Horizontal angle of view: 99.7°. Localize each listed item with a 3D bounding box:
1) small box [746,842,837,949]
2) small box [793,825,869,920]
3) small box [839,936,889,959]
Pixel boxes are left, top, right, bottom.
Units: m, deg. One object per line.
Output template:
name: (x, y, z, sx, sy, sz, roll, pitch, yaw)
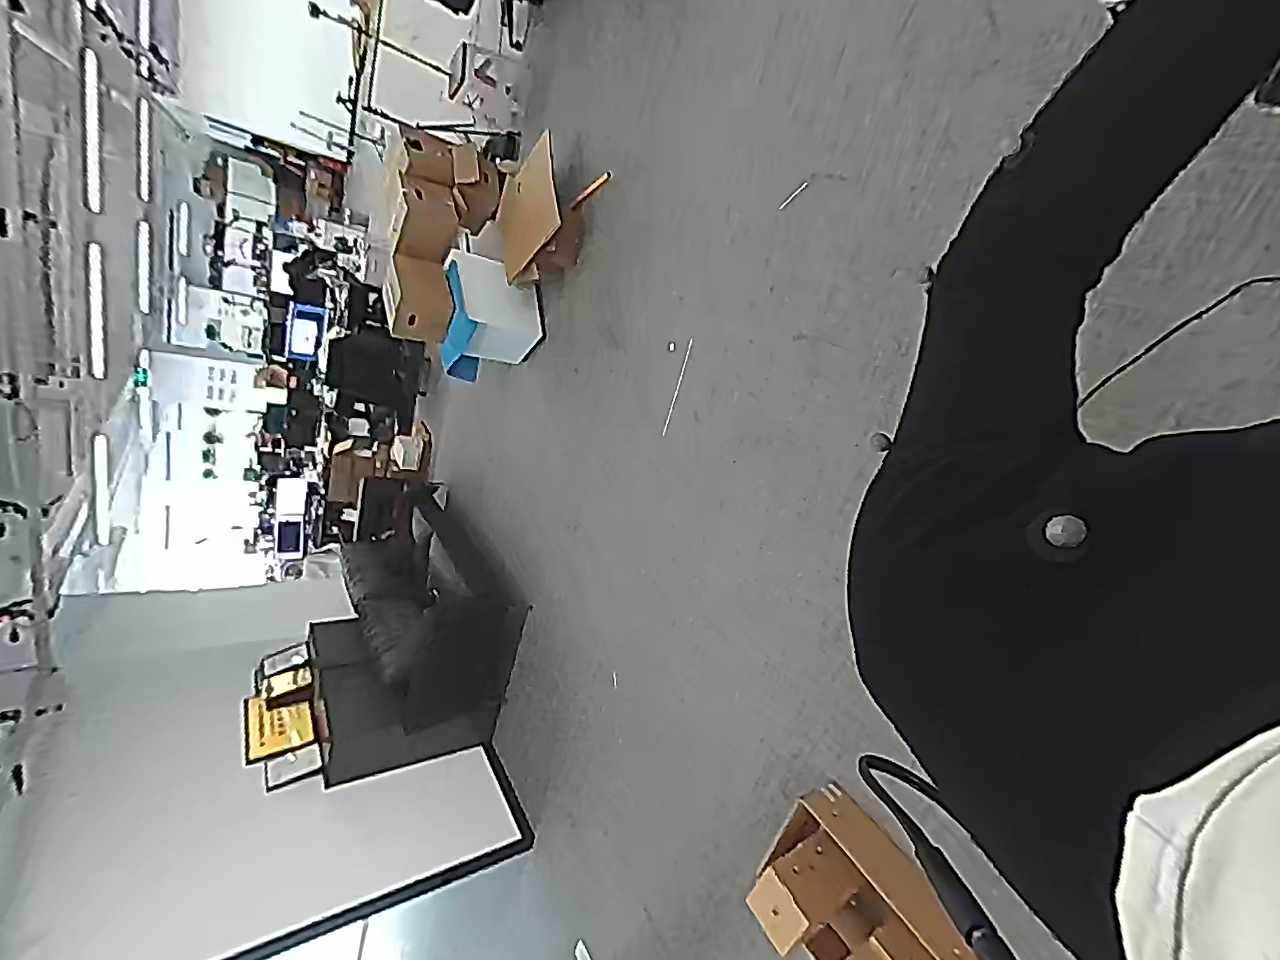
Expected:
small box: (0.458, 1.237, 1.622, 0.168, 0.176, 0.179, 45, 122, 45)
small box: (0.586, 1.238, 1.722, 0.179, 0.176, 0.168, 44, 122, 44)
small box: (0.597, 1.374, 1.431, 0.168, 0.176, 0.179, 36, 116, 49)
